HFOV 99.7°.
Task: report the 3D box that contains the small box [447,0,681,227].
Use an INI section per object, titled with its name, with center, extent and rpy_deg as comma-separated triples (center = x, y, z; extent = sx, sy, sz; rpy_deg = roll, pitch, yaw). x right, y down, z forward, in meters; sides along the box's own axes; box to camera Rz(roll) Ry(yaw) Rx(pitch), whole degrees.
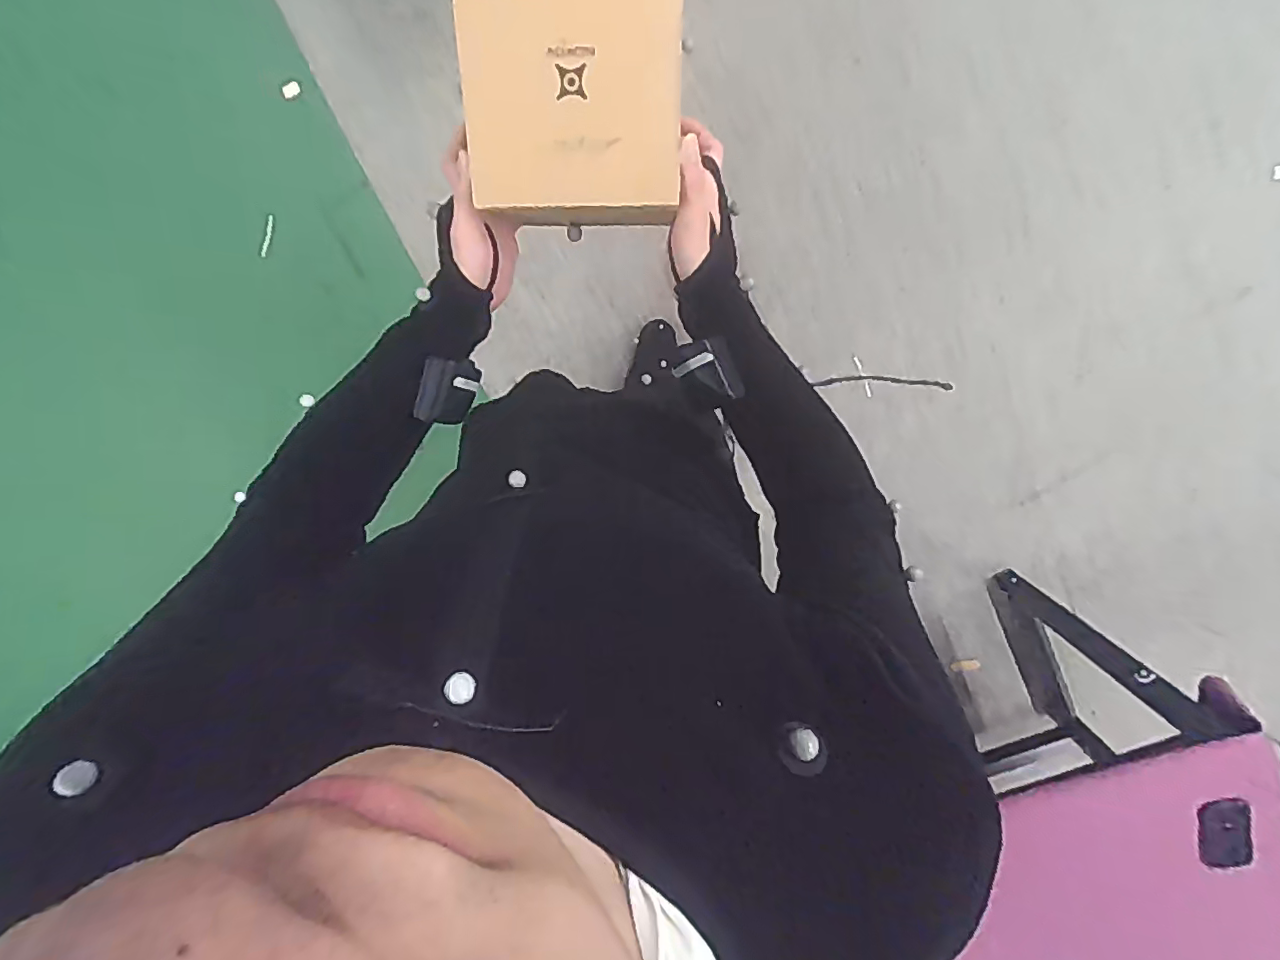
[small box]
center = -0.053, -0.323, 0.464
extent = 0.168, 0.176, 0.179
rpy_deg = 0, 110, 1
